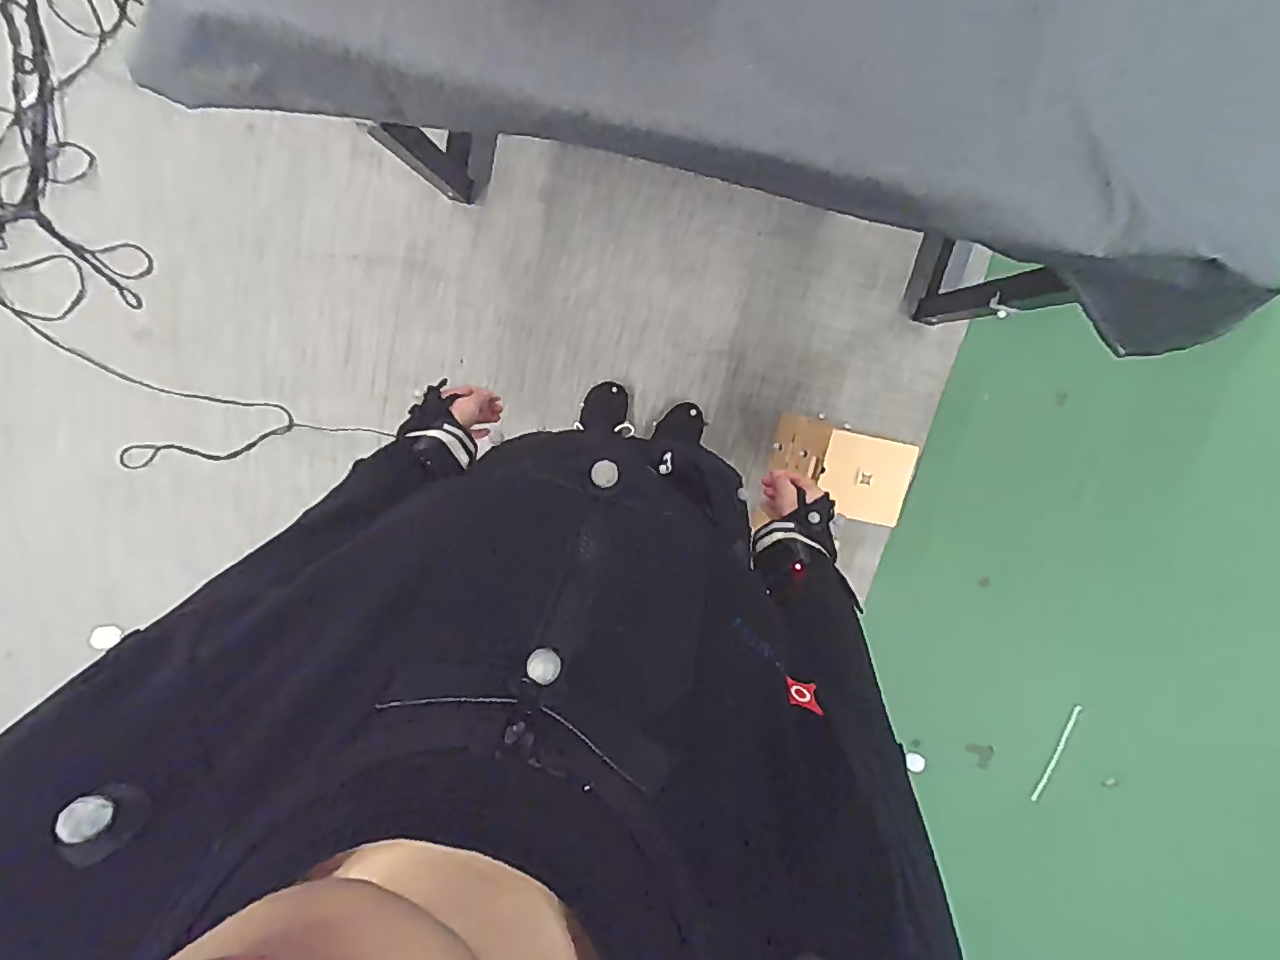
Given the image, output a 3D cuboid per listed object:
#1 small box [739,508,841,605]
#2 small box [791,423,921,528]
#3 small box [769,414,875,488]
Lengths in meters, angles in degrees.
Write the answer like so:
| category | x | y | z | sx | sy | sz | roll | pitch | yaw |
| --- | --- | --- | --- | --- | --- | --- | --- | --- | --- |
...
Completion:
| category | x | y | z | sx | sy | sz | roll | pitch | yaw |
| --- | --- | --- | --- | --- | --- | --- | --- | --- | --- |
| small box | 0.358 | 0.179 | 1.322 | 0.179 | 0.176 | 0.168 | 16 | 100 | 0 |
| small box | 0.432 | -0.017 | 1.111 | 0.179 | 0.176 | 0.168 | 12 | 102 | -1 |
| small box | 0.418 | -0.056 | 1.271 | 0.179 | 0.176 | 0.168 | 13 | 100 | -1 |
